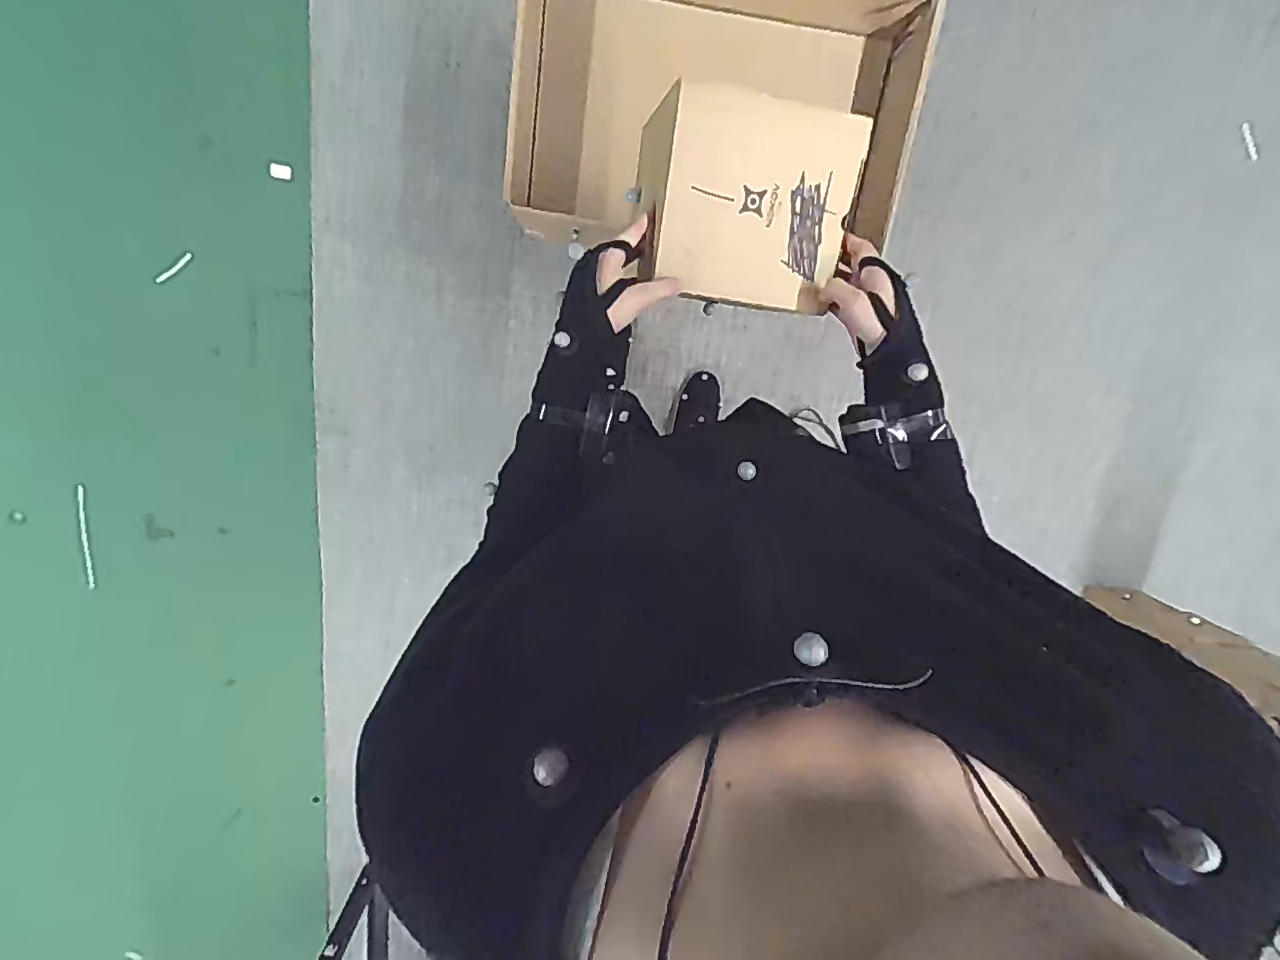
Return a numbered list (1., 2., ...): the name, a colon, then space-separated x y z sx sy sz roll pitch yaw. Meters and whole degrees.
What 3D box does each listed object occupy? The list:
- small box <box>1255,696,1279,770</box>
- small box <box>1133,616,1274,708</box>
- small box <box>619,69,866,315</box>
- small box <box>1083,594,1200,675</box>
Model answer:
1. small box: 1.422 0.542 1.078 0.179 0.176 0.168 4 102 0
2. small box: 1.439 0.471 1.396 0.168 0.176 0.179 6 103 -1
3. small box: 0.085 -0.267 0.544 0.179 0.176 0.168 6 107 -12
4. small box: 1.436 0.443 1.557 0.168 0.176 0.179 6 104 -2
